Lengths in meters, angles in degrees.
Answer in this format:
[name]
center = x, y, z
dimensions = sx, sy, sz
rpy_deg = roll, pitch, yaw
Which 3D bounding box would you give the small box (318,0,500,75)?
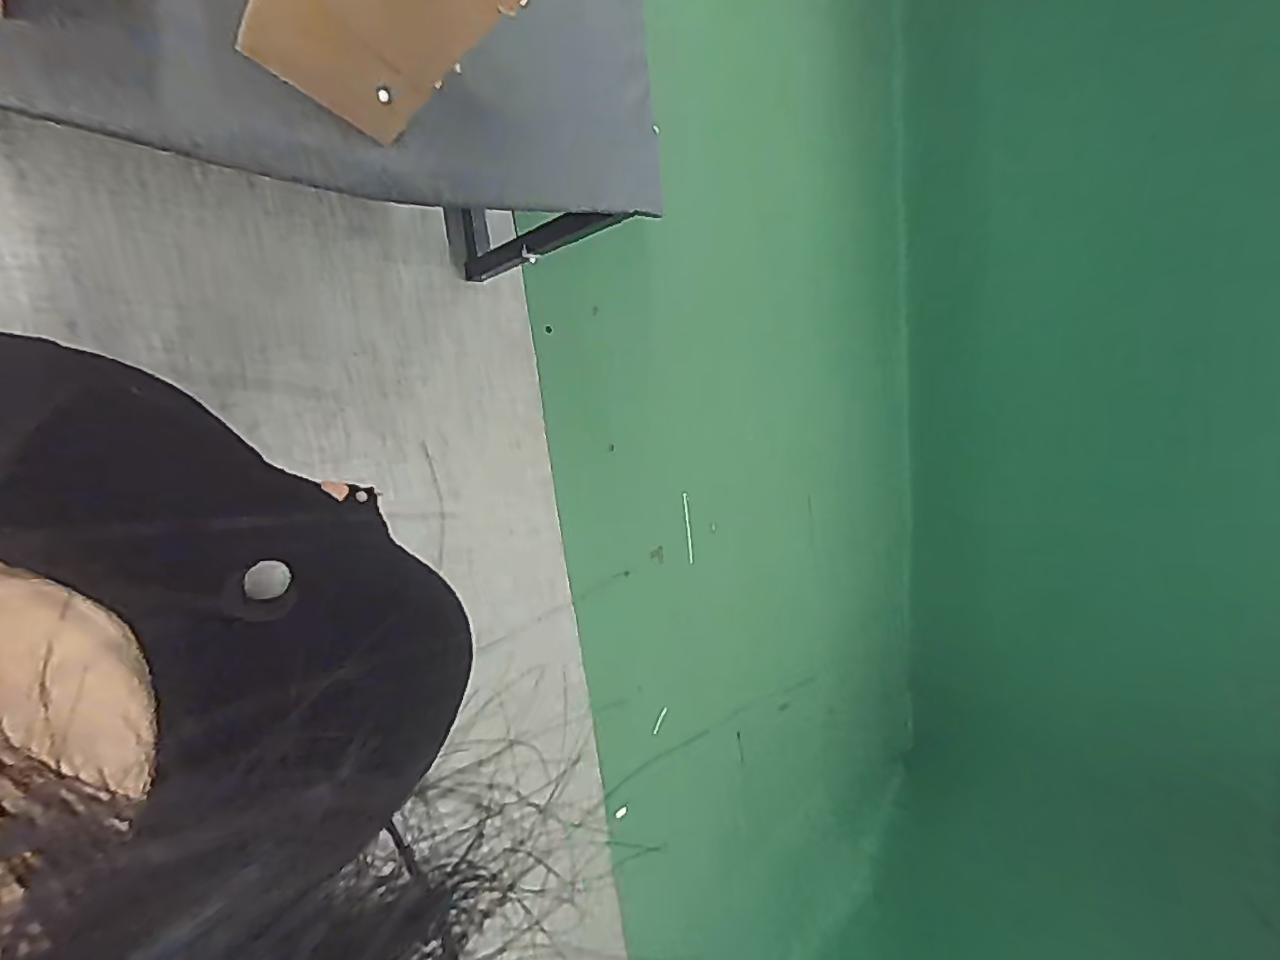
[small box]
center = -0.223, -0.535, 0.513
dimensions = 0.179, 0.176, 0.168
rpy_deg = 28, 73, -41
